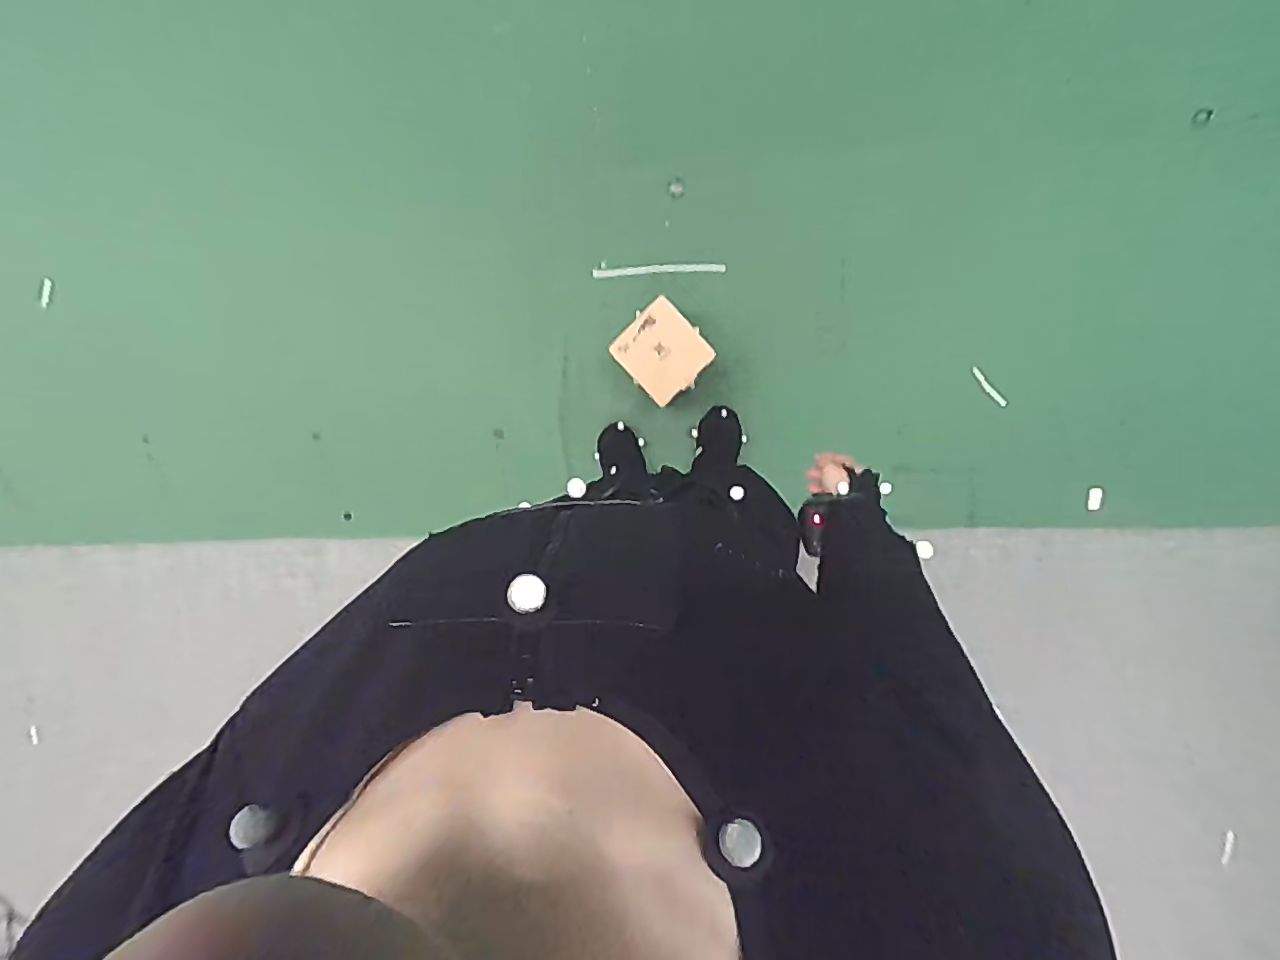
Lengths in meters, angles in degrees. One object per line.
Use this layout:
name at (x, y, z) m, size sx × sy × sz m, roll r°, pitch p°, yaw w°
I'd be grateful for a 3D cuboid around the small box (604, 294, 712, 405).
small box at (0.044, -0.294, 1.229) m, size 0.168 × 0.176 × 0.179 m, roll -43°, pitch 96°, yaw 11°
